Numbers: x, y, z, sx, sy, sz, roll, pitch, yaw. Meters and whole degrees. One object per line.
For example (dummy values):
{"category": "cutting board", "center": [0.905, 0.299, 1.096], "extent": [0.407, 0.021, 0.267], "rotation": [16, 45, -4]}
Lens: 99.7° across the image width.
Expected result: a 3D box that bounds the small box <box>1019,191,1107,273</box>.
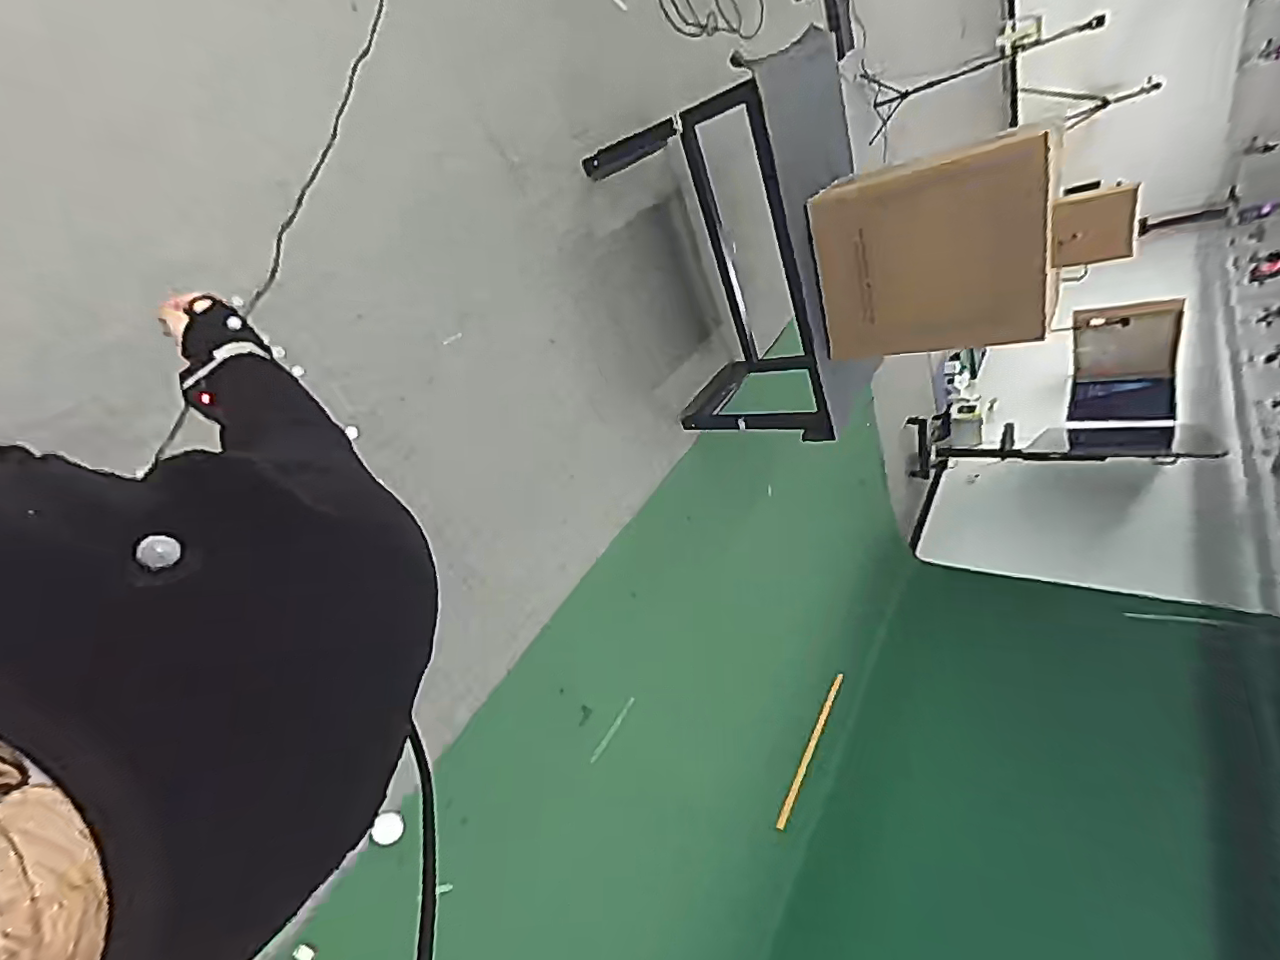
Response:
{"category": "small box", "center": [1.166, -0.681, 1.491], "extent": [0.179, 0.176, 0.168], "rotation": [-36, 120, -40]}
